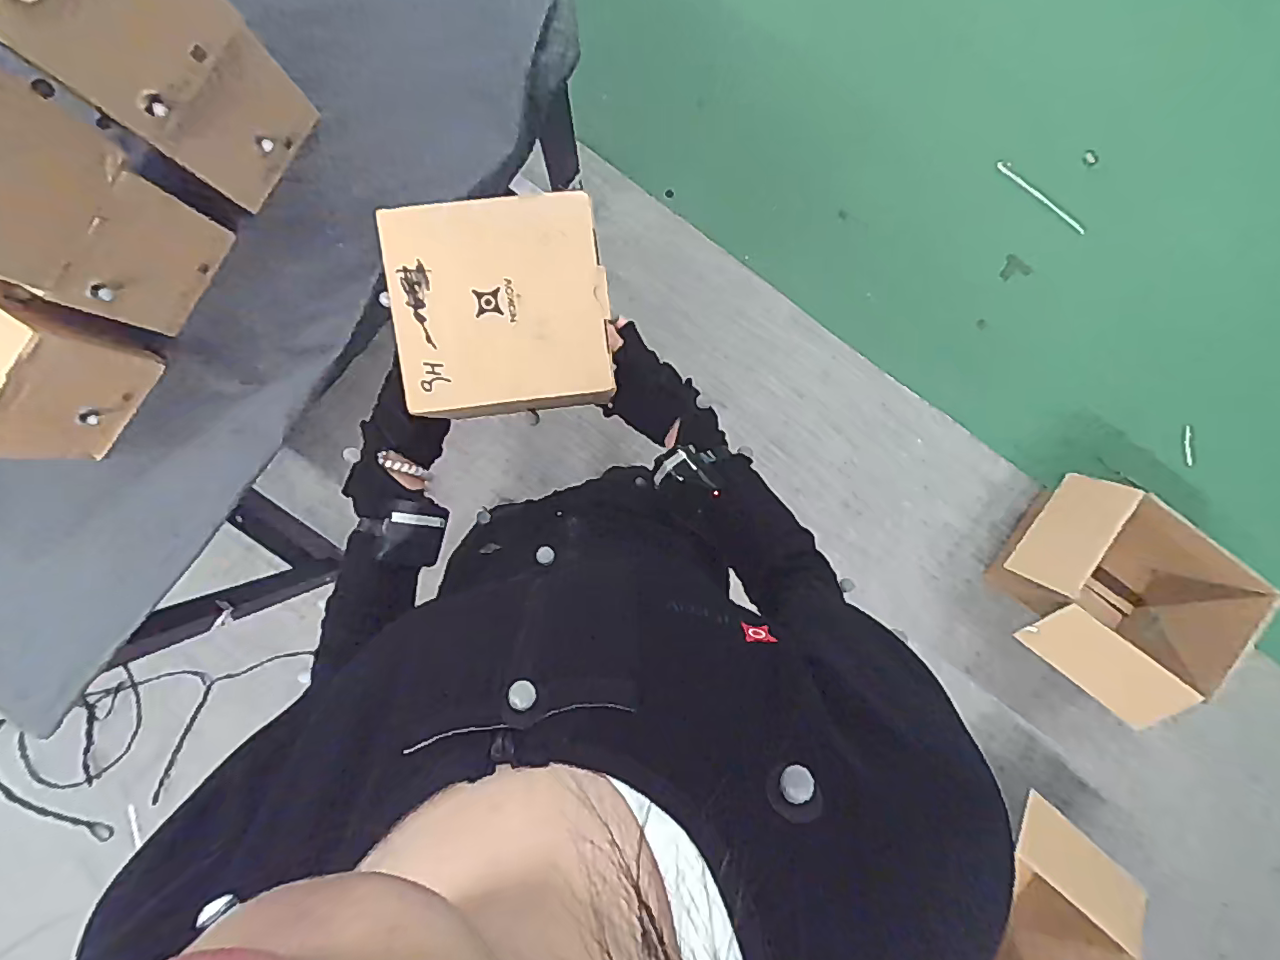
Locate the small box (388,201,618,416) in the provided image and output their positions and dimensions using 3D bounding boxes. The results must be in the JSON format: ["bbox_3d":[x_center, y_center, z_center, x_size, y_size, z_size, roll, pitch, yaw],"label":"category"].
[{"bbox_3d":[-0.121,-0.154,0.533,0.179,0.176,0.168,-6,95,-5],"label":"small box"}]
